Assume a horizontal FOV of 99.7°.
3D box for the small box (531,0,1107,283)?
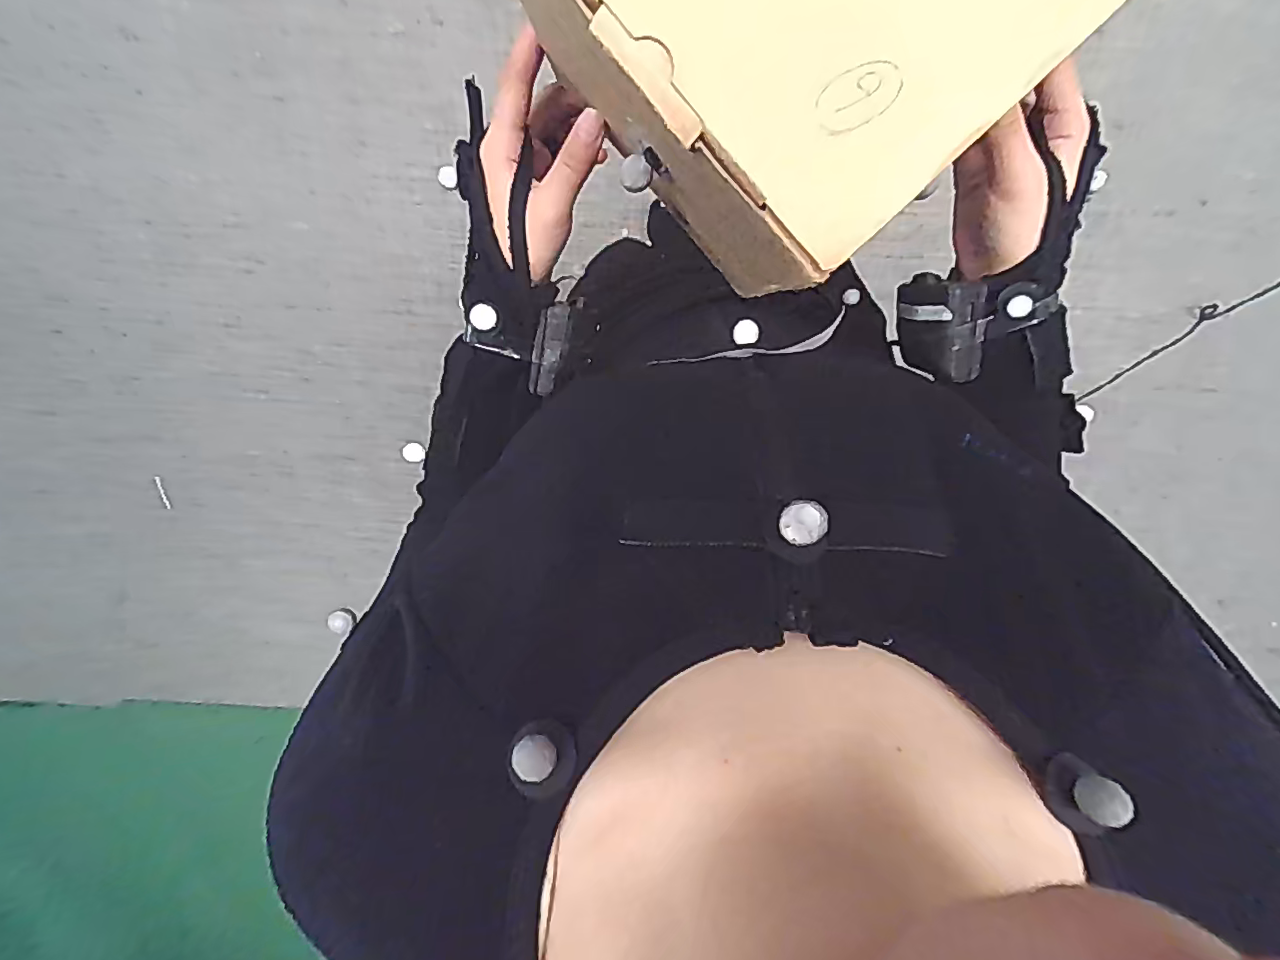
[{"bbox_3d":[0.066,-0.201,0.219,0.179,0.176,0.168,-42,100,14],"label":"small box"}]
